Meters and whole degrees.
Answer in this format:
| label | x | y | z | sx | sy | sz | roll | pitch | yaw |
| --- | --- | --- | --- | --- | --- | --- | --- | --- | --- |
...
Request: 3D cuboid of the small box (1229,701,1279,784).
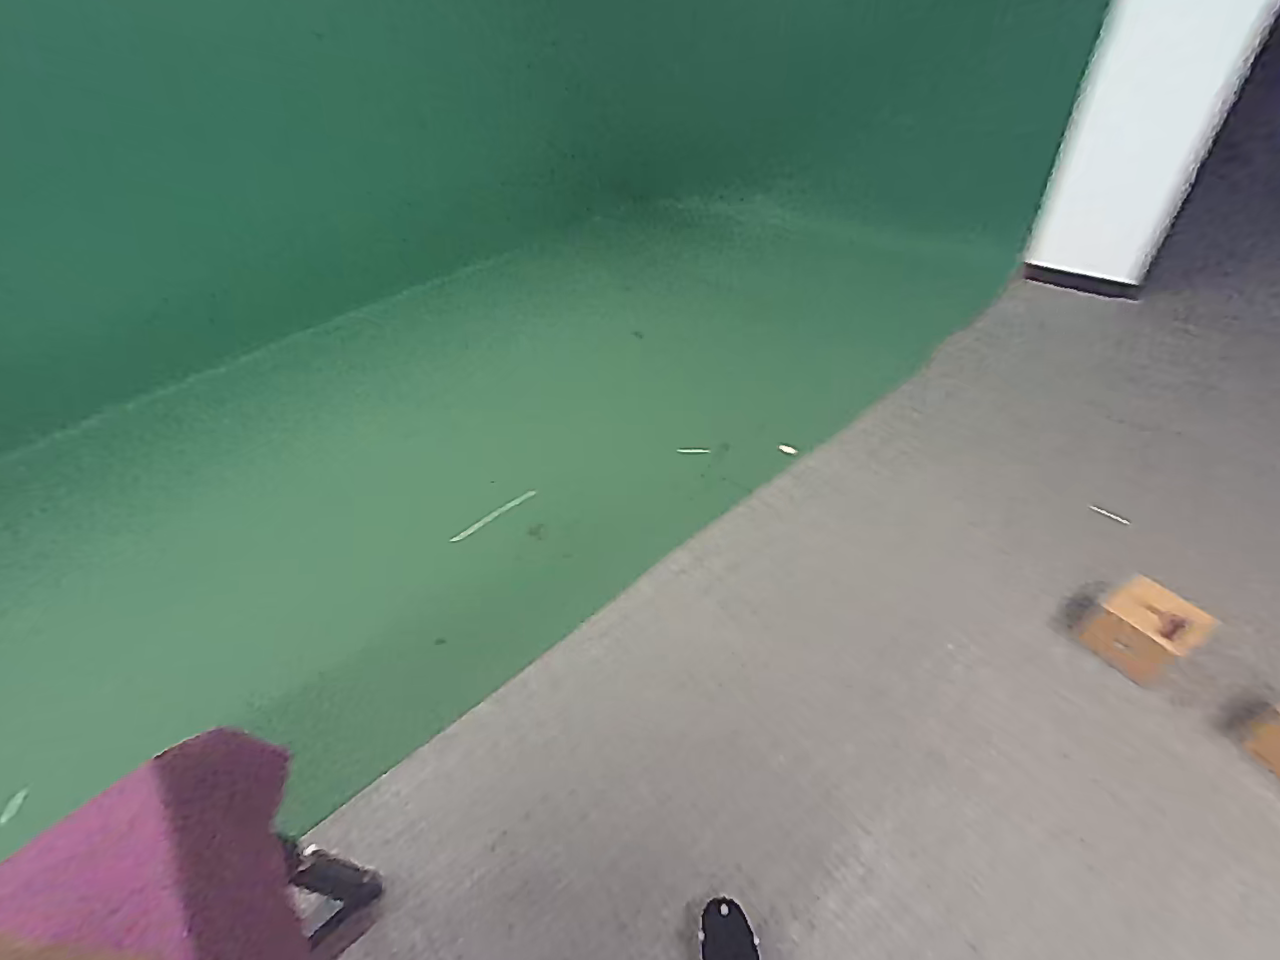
| label | x | y | z | sx | sy | sz | roll | pitch | yaw |
| --- | --- | --- | --- | --- | --- | --- | --- | --- | --- |
| small box | 1.452 | 0.567 | 1.157 | 0.168 | 0.176 | 0.179 | -22 | 45 | -10 |
